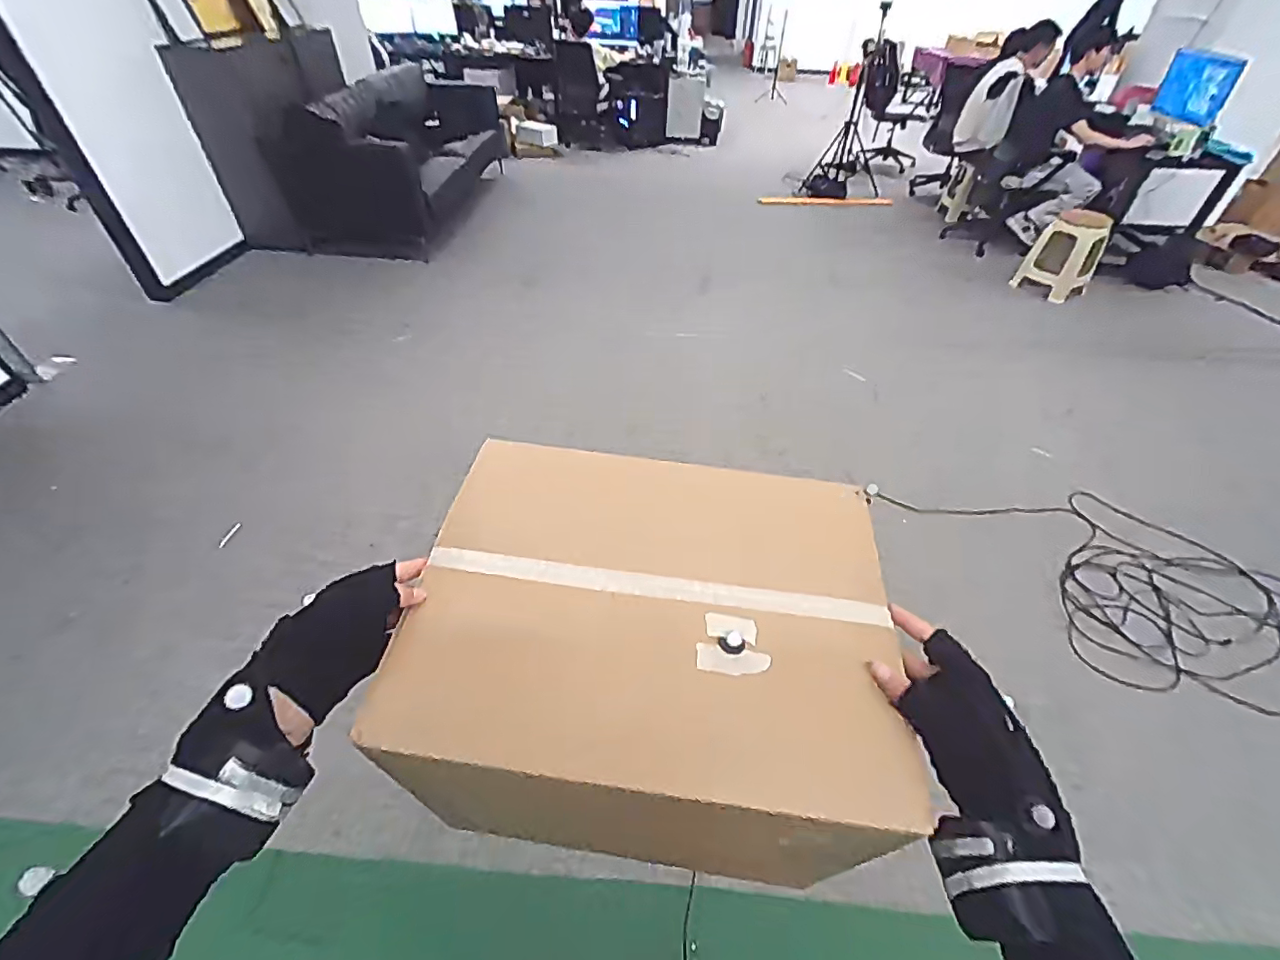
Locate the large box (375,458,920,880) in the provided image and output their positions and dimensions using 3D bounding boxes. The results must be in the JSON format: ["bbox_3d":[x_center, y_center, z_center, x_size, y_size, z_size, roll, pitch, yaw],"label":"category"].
[{"bbox_3d":[0.010,0.207,0.593,0.408,0.320,0.320,7,48,3],"label":"large box"}]
